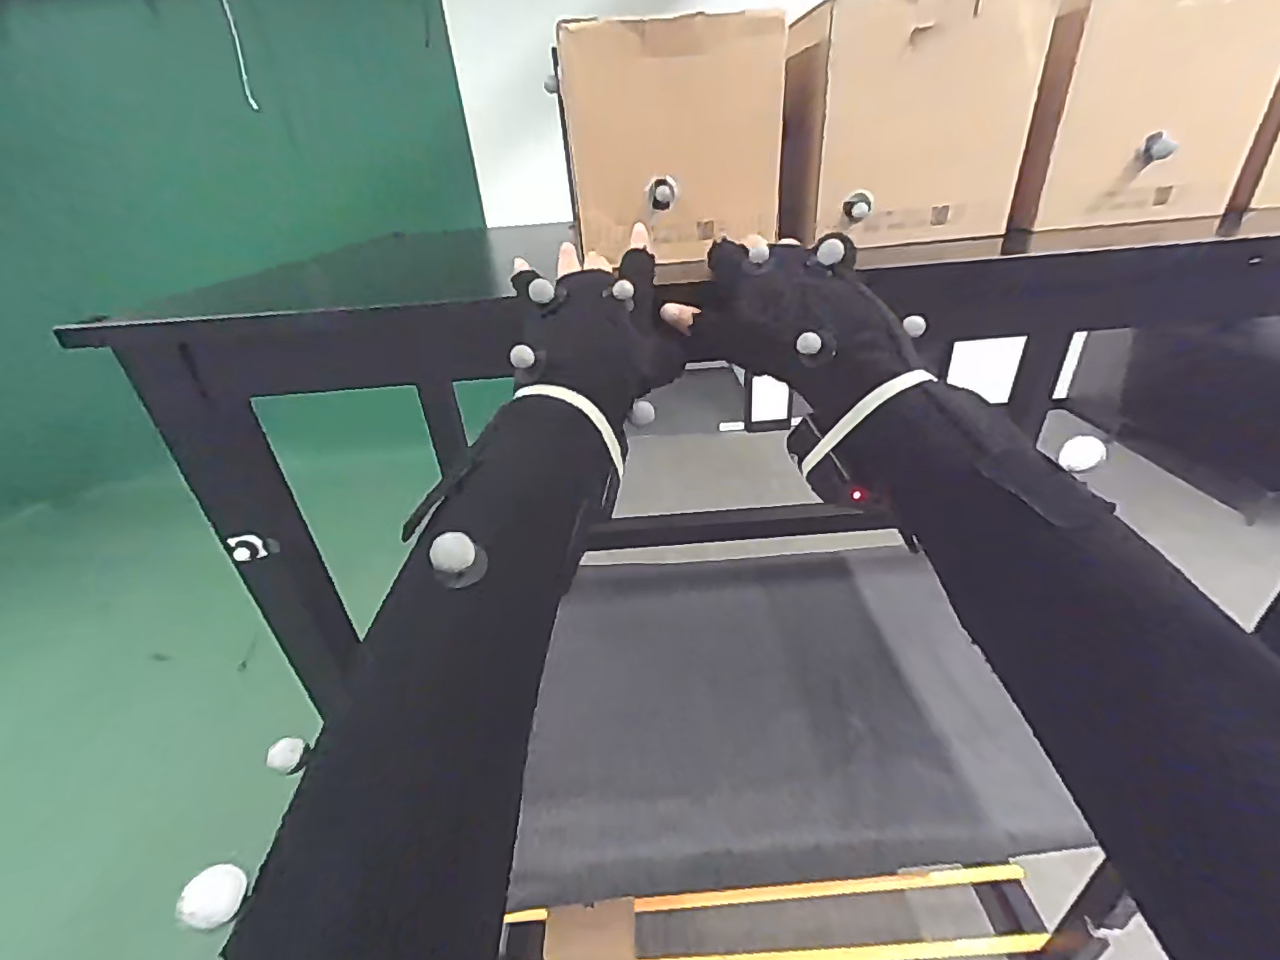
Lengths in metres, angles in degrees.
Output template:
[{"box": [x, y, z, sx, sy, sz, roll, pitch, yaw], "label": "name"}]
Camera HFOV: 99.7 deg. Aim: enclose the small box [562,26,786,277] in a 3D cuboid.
[{"box": [0.023, -0.290, 0.498, 0.168, 0.176, 0.179, -6, 31, -3], "label": "small box"}]
